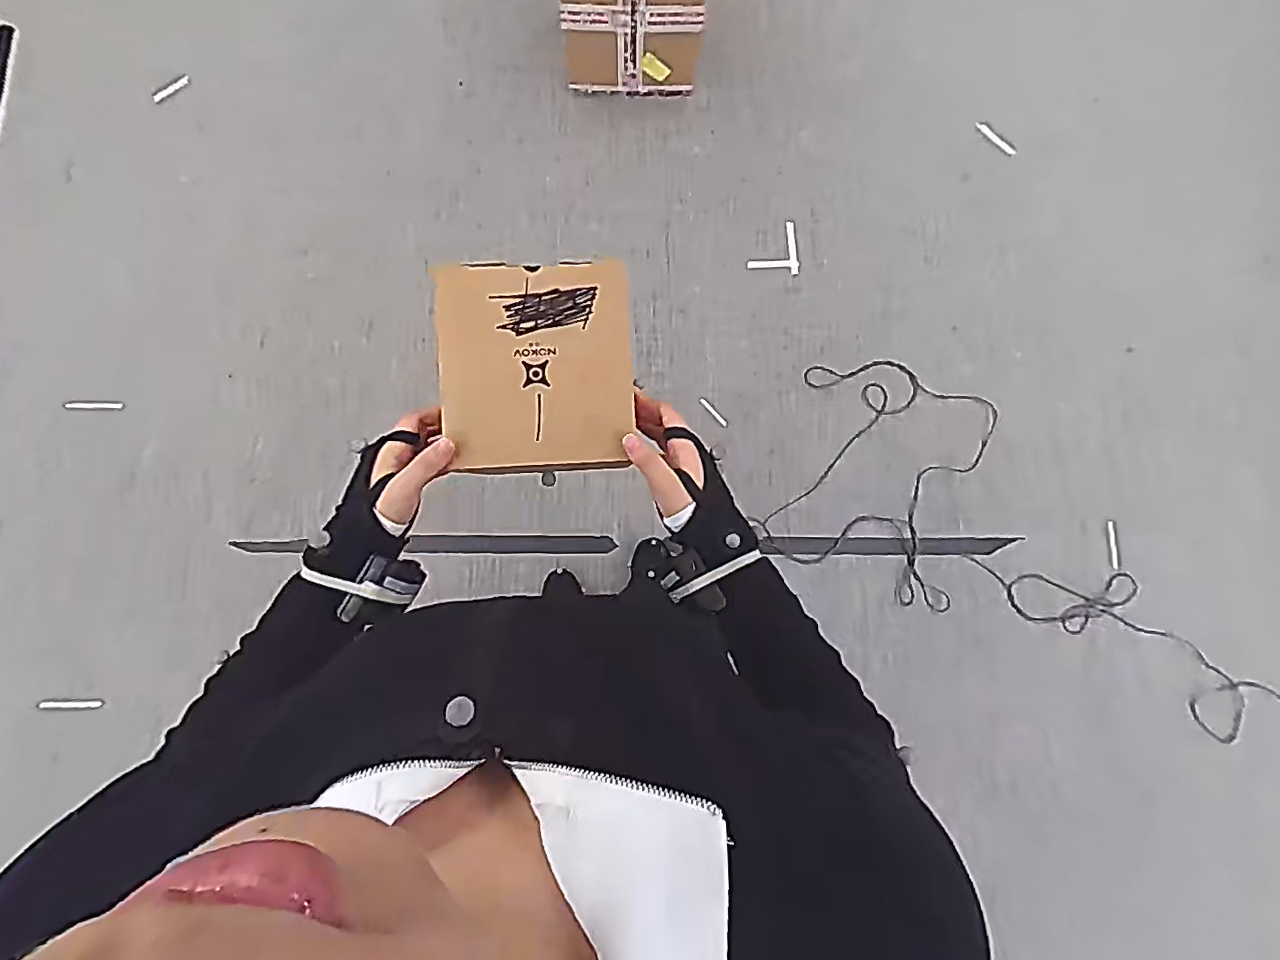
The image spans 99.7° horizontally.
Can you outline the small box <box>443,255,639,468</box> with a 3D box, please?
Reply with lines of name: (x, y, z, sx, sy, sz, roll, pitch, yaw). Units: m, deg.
small box: (-0.091, -0.105, 0.544, 0.168, 0.176, 0.179, -2, 90, -4)
